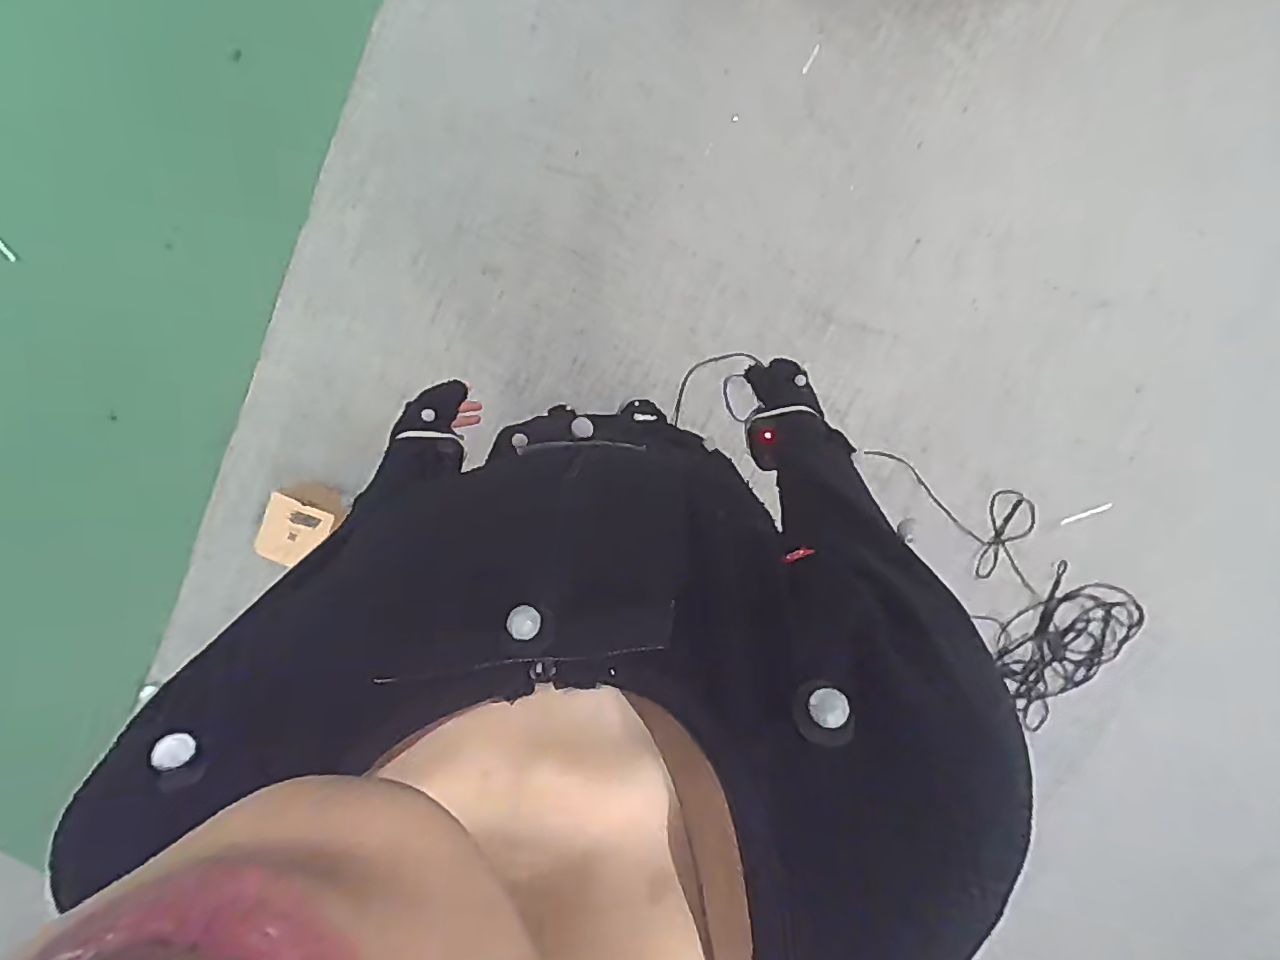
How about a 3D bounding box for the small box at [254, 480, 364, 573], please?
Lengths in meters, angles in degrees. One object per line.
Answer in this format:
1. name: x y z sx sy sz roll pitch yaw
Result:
1. small box: -0.864 0.113 1.431 0.168 0.176 0.179 24 99 -2
